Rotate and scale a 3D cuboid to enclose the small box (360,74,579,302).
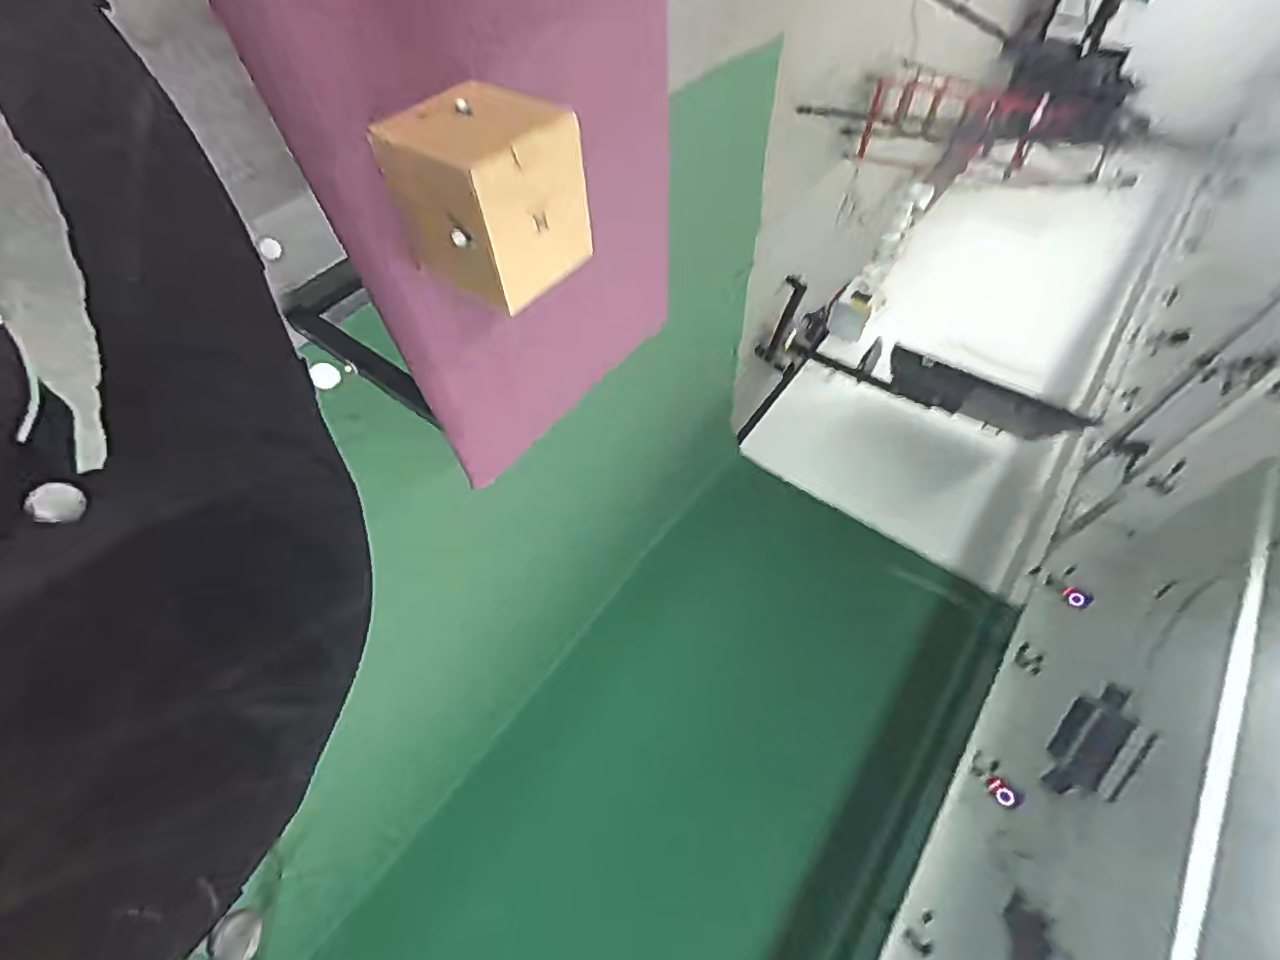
[{"bbox_3d":[-0.199,-0.361,0.669,0.168,0.176,0.179,-49,156,-27],"label":"small box"}]
